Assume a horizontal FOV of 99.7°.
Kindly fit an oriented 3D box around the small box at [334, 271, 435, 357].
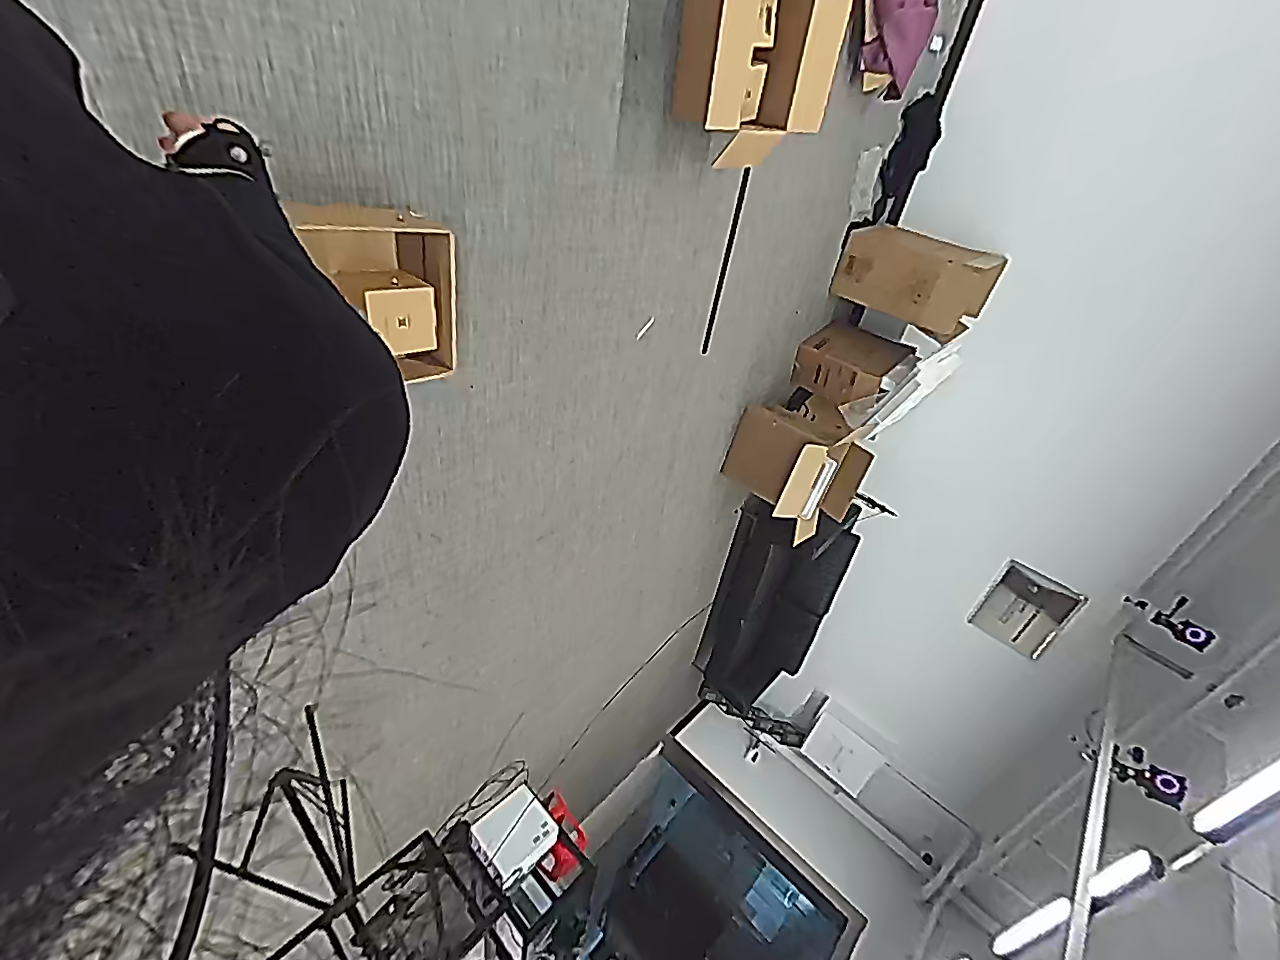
[{"bbox_3d":[-0.653,-0.433,1.392,0.179,0.176,0.168,-23,134,-41],"label":"small box"}]
